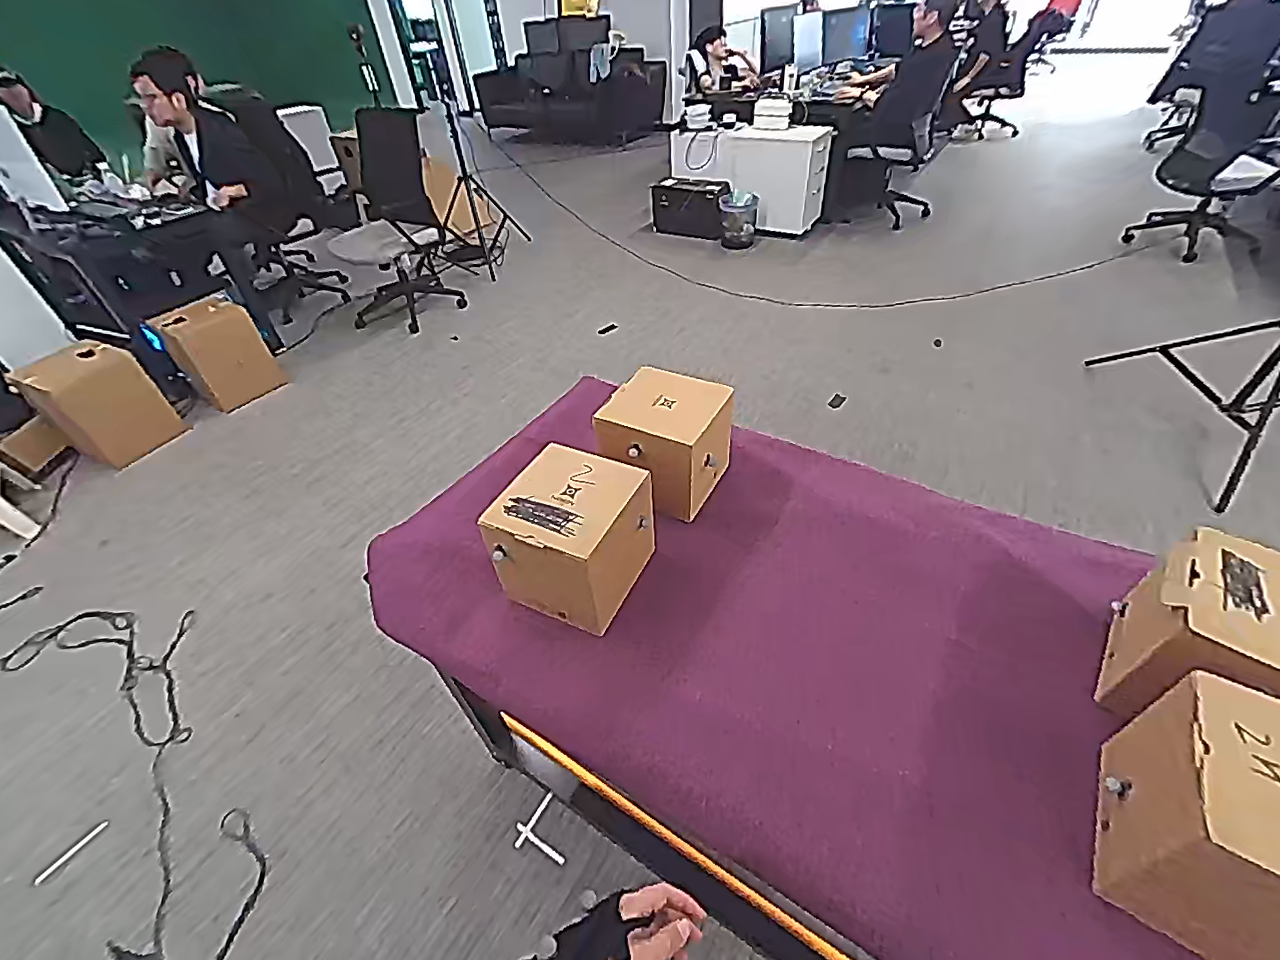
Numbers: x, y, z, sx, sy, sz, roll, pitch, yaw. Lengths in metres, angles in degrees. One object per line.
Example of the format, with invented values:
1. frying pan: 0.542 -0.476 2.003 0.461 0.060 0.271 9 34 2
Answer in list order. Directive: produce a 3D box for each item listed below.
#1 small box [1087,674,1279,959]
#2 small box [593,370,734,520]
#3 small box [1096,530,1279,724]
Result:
1. small box: 0.535 0.312 0.465 0.179 0.176 0.168 22 47 28
2. small box: 0.044 -0.057 0.914 0.179 0.176 0.168 19 47 23
3. small box: 0.644 0.193 0.584 0.179 0.176 0.168 28 53 29
